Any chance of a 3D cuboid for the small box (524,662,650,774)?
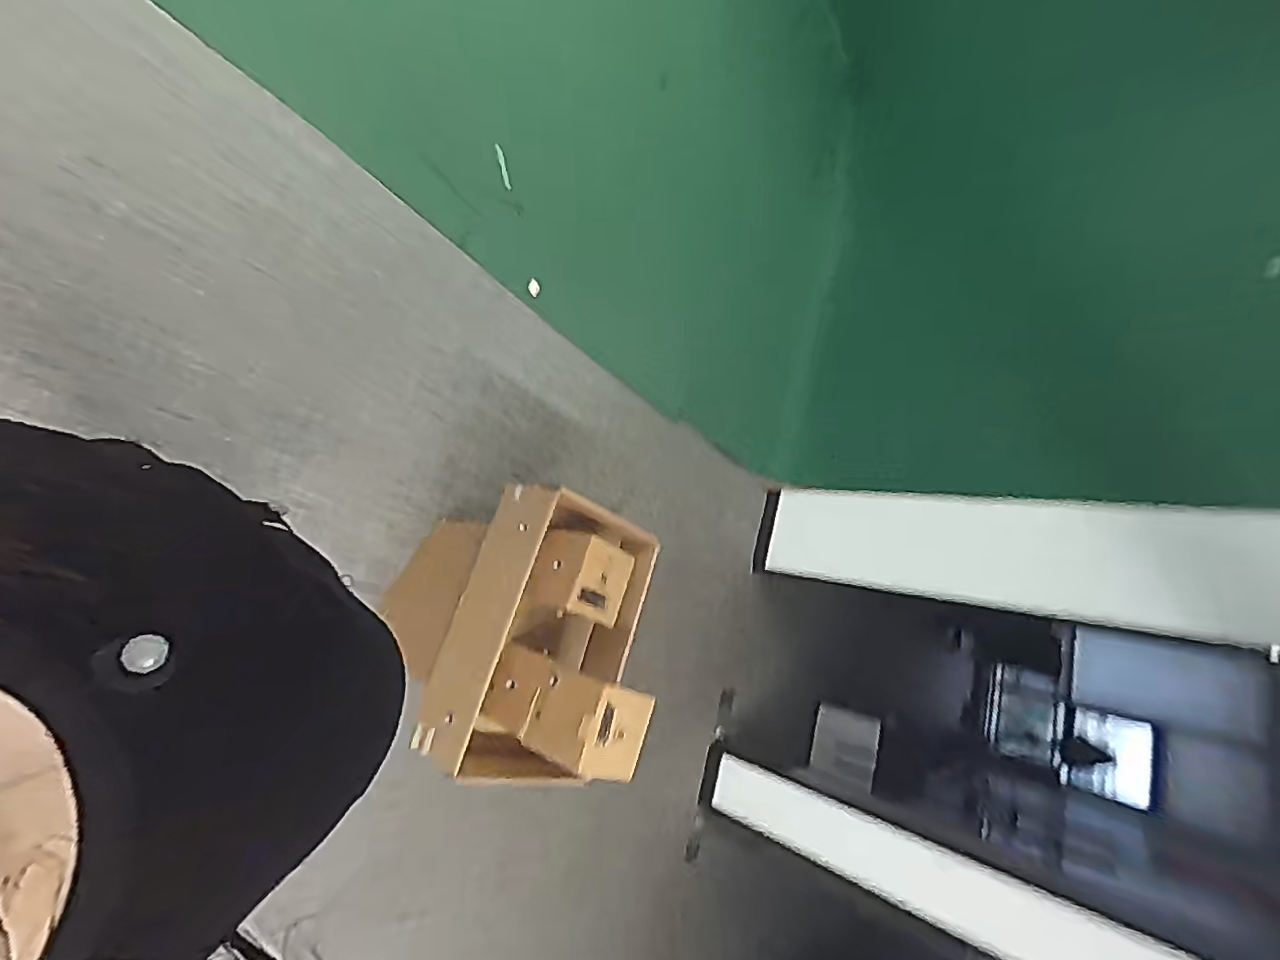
[{"bbox_3d":[-0.114,0.497,1.140,0.179,0.176,0.168,38,65,-44],"label":"small box"}]
